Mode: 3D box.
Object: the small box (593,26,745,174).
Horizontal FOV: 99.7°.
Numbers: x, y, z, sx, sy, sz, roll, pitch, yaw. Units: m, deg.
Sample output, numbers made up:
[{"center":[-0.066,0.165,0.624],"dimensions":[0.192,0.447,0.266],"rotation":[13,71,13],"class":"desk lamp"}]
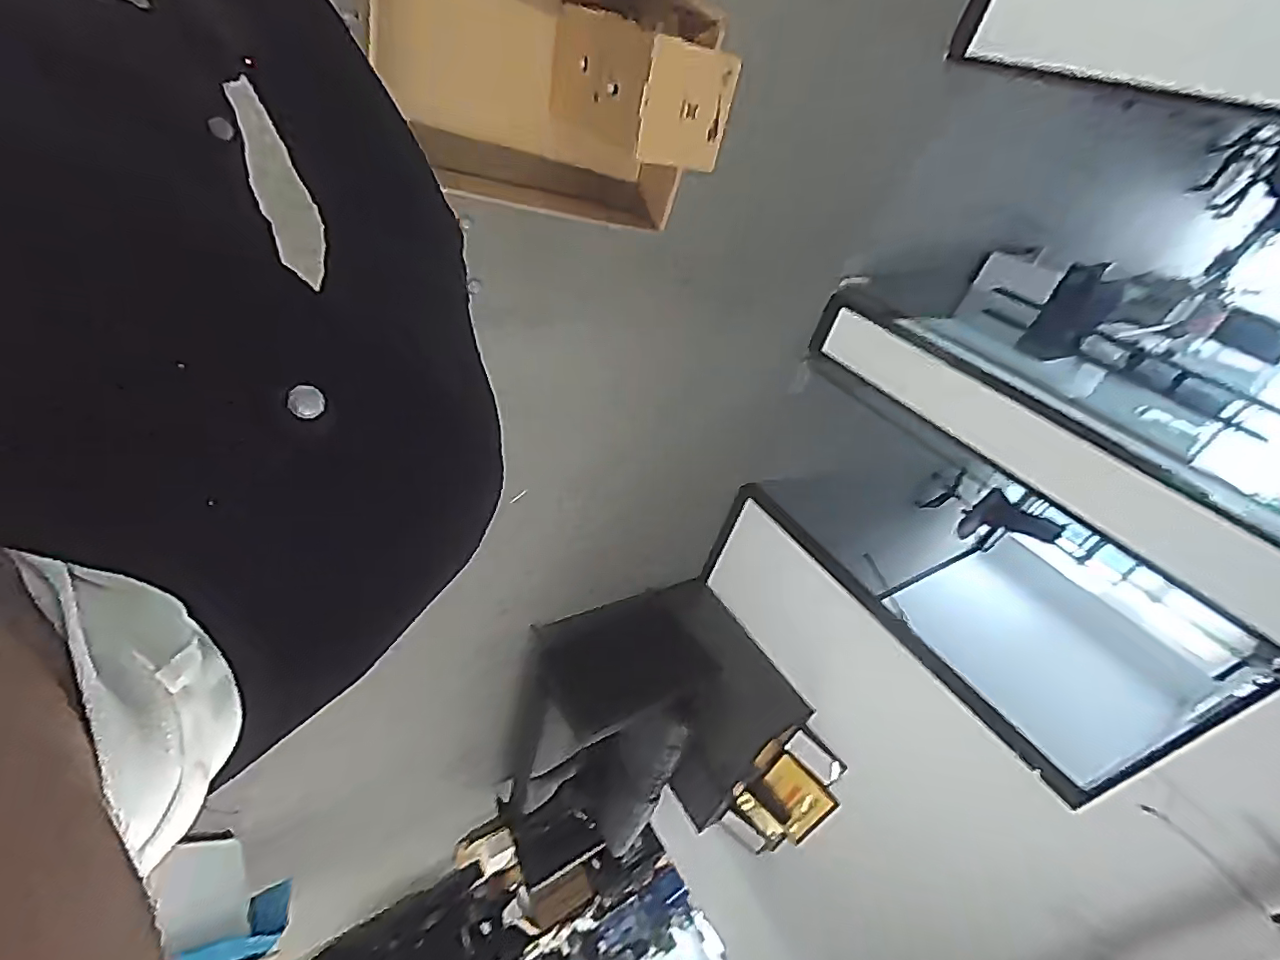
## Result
[{"center":[0.039,-0.642,0.916],"dimensions":[0.179,0.176,0.168],"rotation":[-12,136,-32],"class":"small box"}]
